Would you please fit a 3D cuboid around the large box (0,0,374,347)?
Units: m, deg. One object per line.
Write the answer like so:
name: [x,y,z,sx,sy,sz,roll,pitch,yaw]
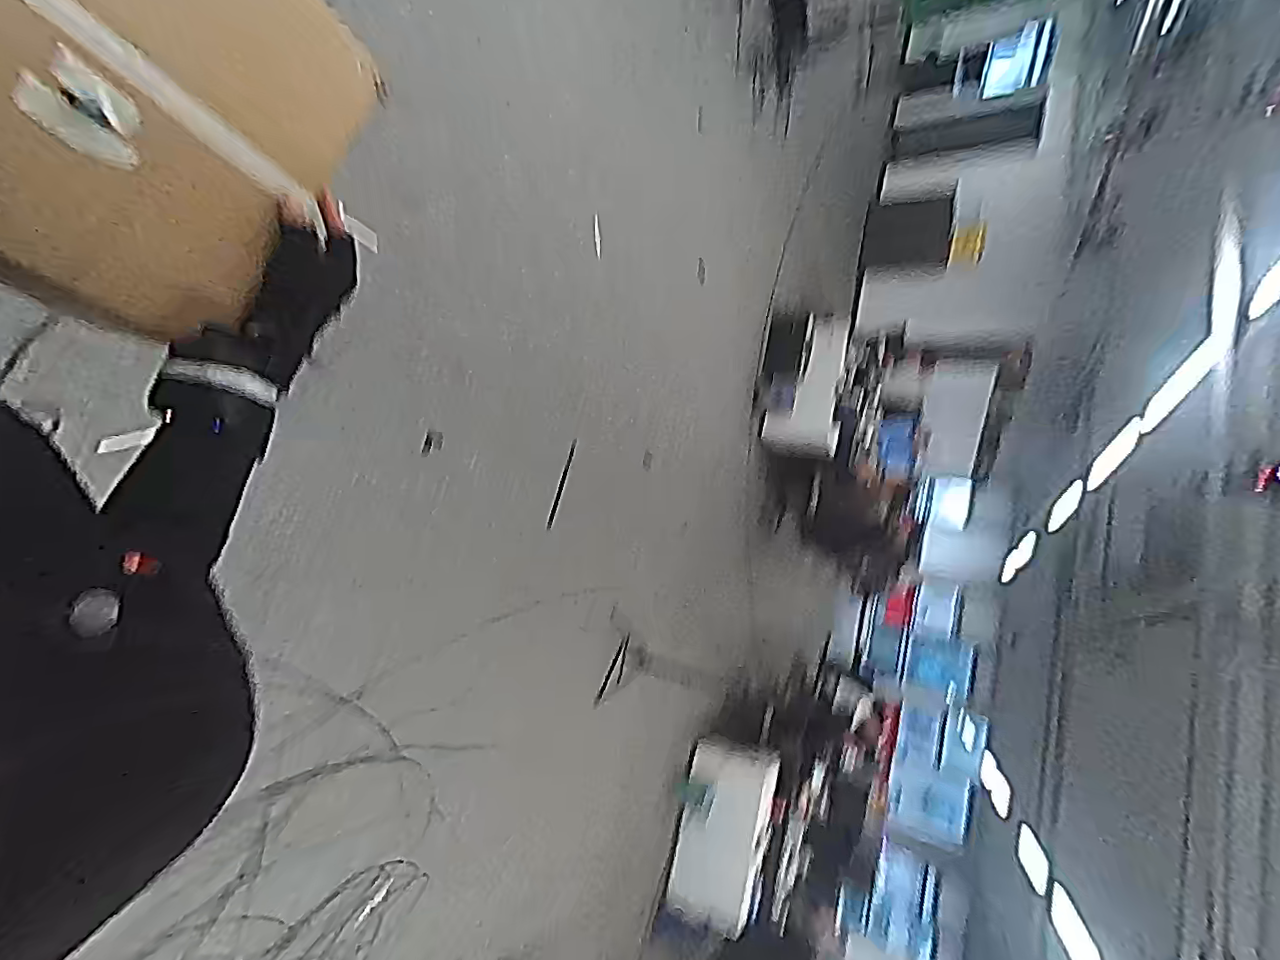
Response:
large box: [-0.517,-0.349,0.402,0.408,0.320,0.320,40,69,-57]
